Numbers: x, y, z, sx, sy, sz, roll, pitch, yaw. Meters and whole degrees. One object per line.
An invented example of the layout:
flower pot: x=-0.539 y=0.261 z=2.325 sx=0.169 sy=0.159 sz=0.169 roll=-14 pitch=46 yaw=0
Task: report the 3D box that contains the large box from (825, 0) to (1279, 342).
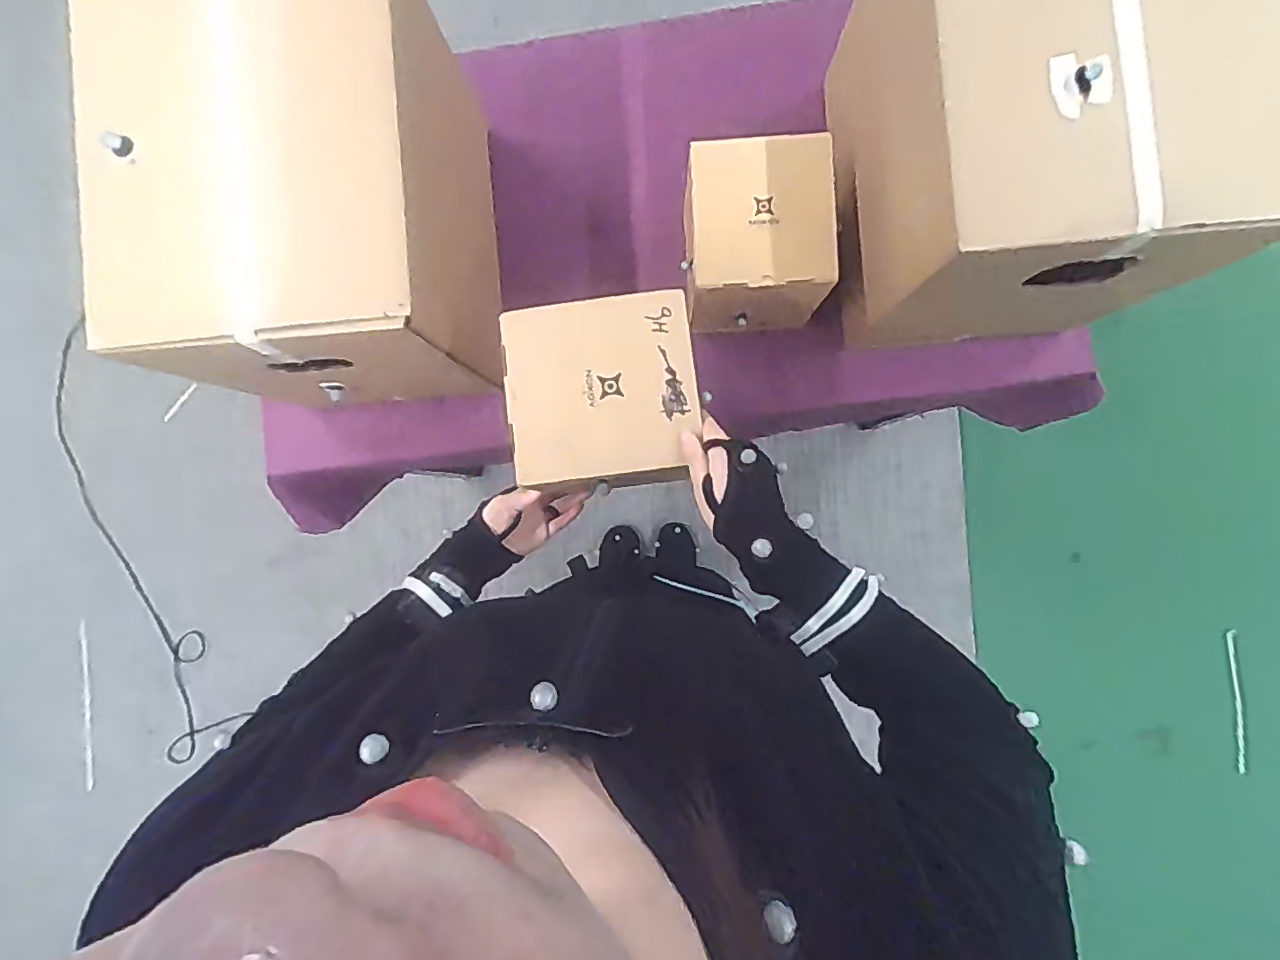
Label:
large box: x=0.432 y=-0.408 z=0.636 sx=0.320 sy=0.320 sz=0.408 roll=-4 pitch=89 yaw=2
